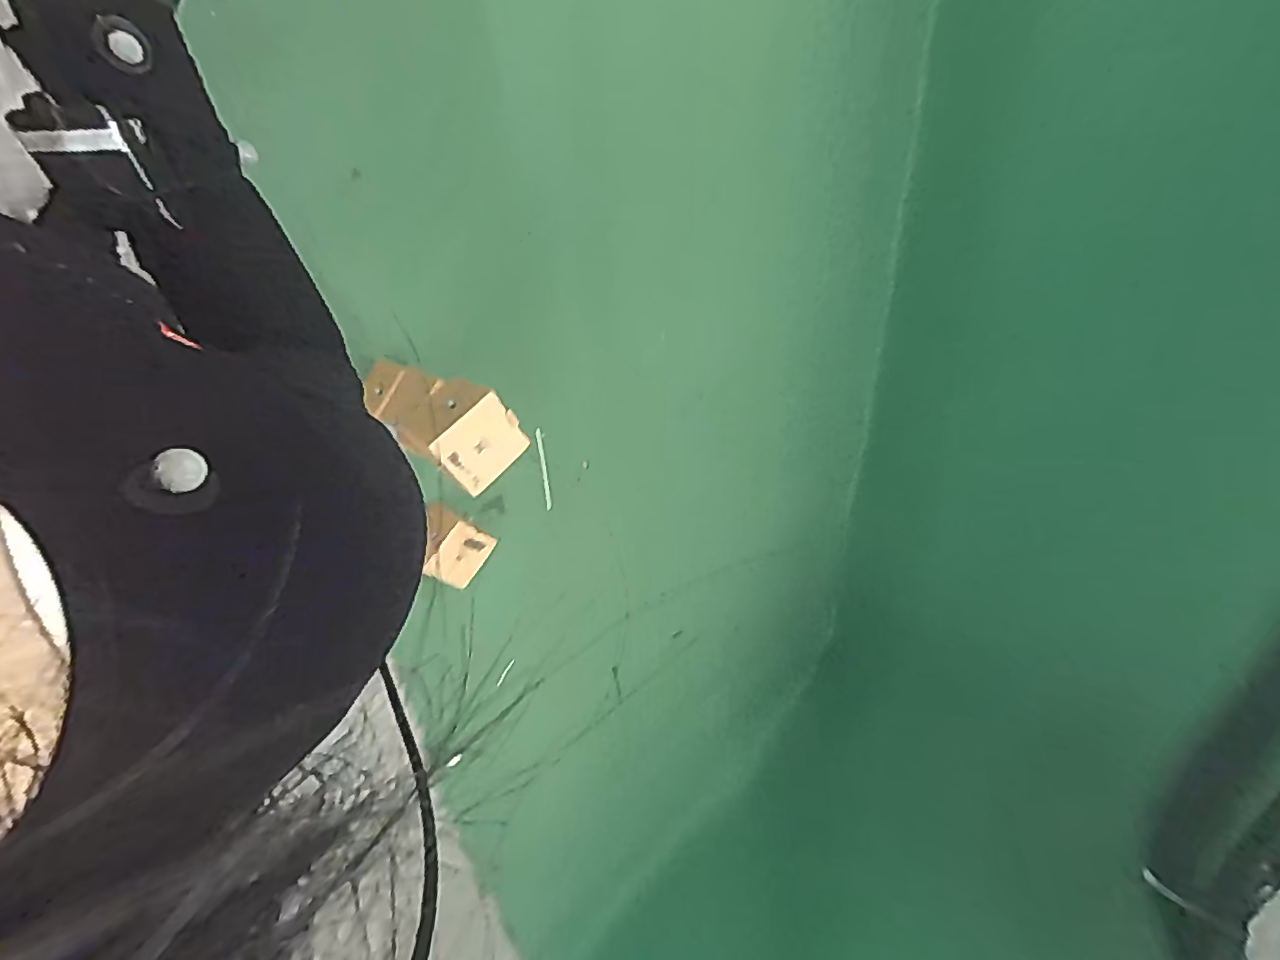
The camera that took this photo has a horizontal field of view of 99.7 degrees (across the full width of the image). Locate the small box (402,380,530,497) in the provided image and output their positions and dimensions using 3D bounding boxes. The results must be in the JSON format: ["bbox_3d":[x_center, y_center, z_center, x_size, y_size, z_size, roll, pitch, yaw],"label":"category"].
[{"bbox_3d":[-0.385,-0.098,1.194,0.179,0.176,0.168,-48,135,-18],"label":"small box"}]

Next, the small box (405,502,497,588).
[{"bbox_3d":[-0.574,0.191,1.633,0.179,0.176,0.168,-56,138,-8],"label":"small box"}]

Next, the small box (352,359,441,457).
[{"bbox_3d":[-0.620,-0.190,1.406,0.168,0.176,0.179,34,83,-48],"label":"small box"}]
